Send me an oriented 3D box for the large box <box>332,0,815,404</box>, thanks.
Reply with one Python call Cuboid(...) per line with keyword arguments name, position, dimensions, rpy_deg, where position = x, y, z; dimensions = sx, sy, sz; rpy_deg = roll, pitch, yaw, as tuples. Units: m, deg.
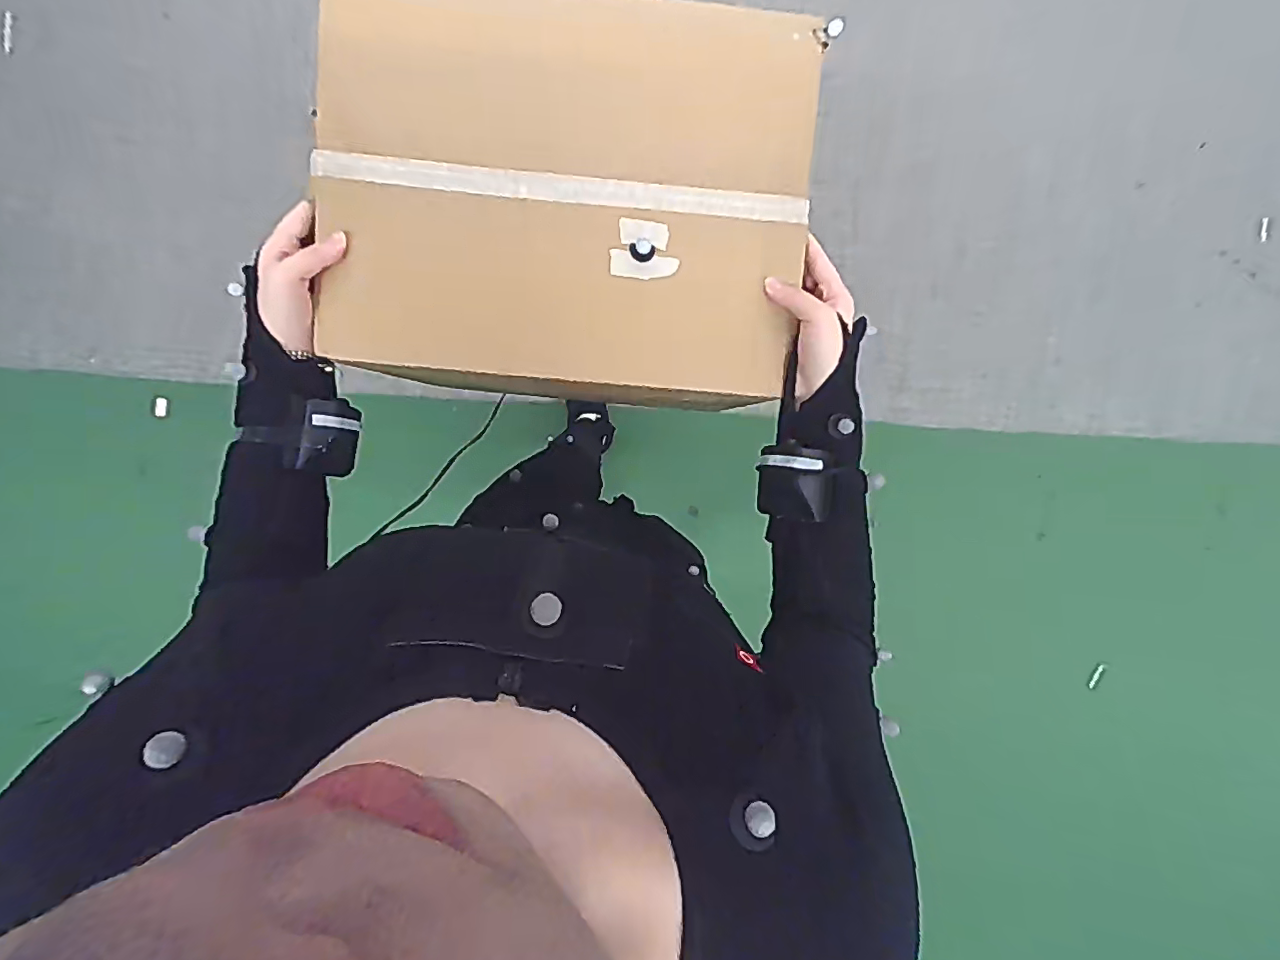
Cuboid(name="large box", position=(-0.067, -0.260, 0.609), dimensions=(0.408, 0.320, 0.320), rpy_deg=(4, 95, -4))
